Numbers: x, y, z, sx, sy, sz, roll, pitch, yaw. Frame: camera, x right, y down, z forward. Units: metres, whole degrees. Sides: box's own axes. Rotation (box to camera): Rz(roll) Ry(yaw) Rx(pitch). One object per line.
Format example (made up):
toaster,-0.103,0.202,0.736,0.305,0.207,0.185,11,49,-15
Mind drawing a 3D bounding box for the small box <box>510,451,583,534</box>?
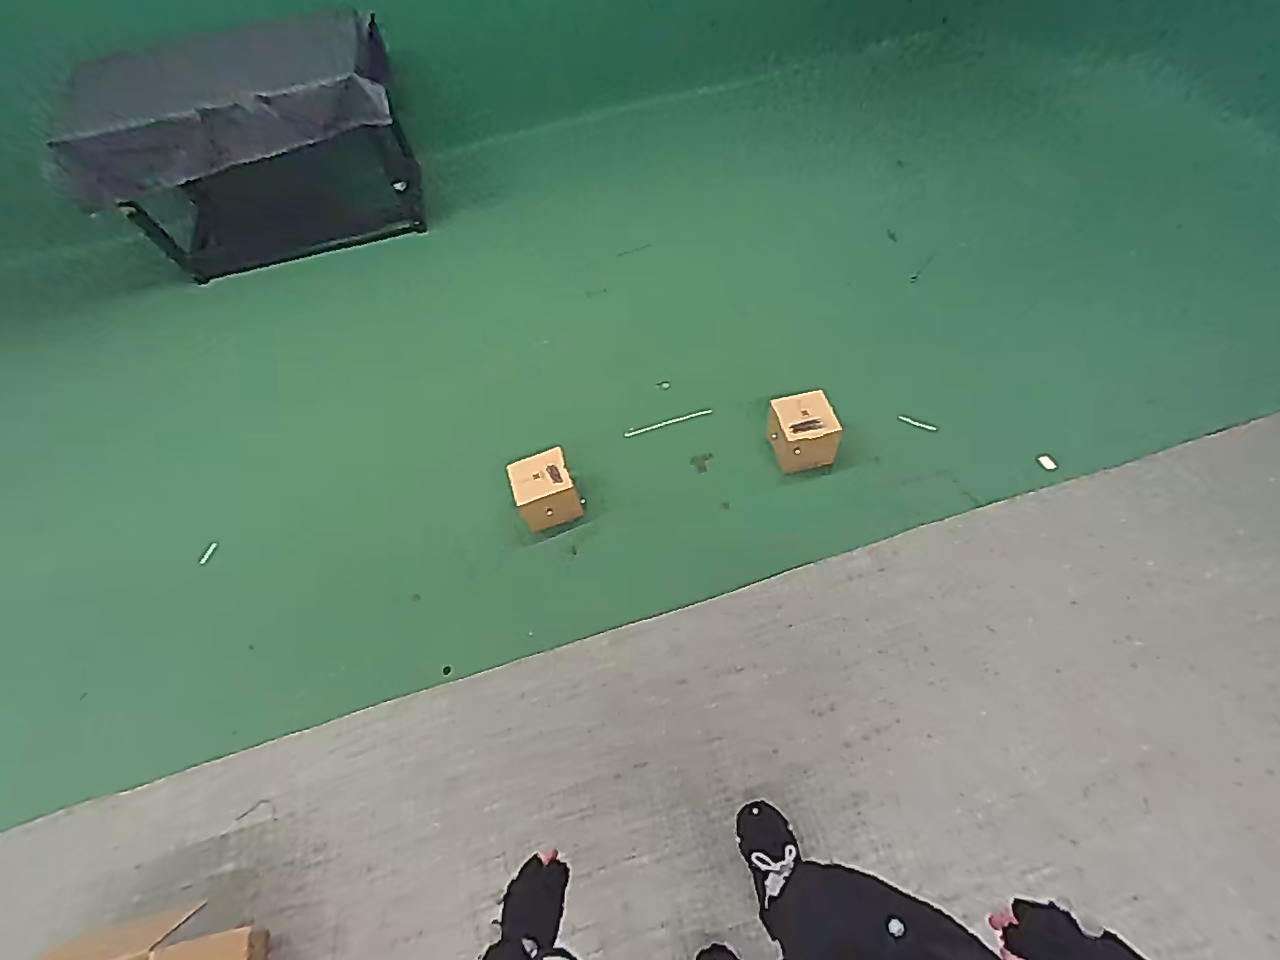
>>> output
small box,-0.287,0.042,1.692,0.179,0.176,0.168,-20,55,-4
